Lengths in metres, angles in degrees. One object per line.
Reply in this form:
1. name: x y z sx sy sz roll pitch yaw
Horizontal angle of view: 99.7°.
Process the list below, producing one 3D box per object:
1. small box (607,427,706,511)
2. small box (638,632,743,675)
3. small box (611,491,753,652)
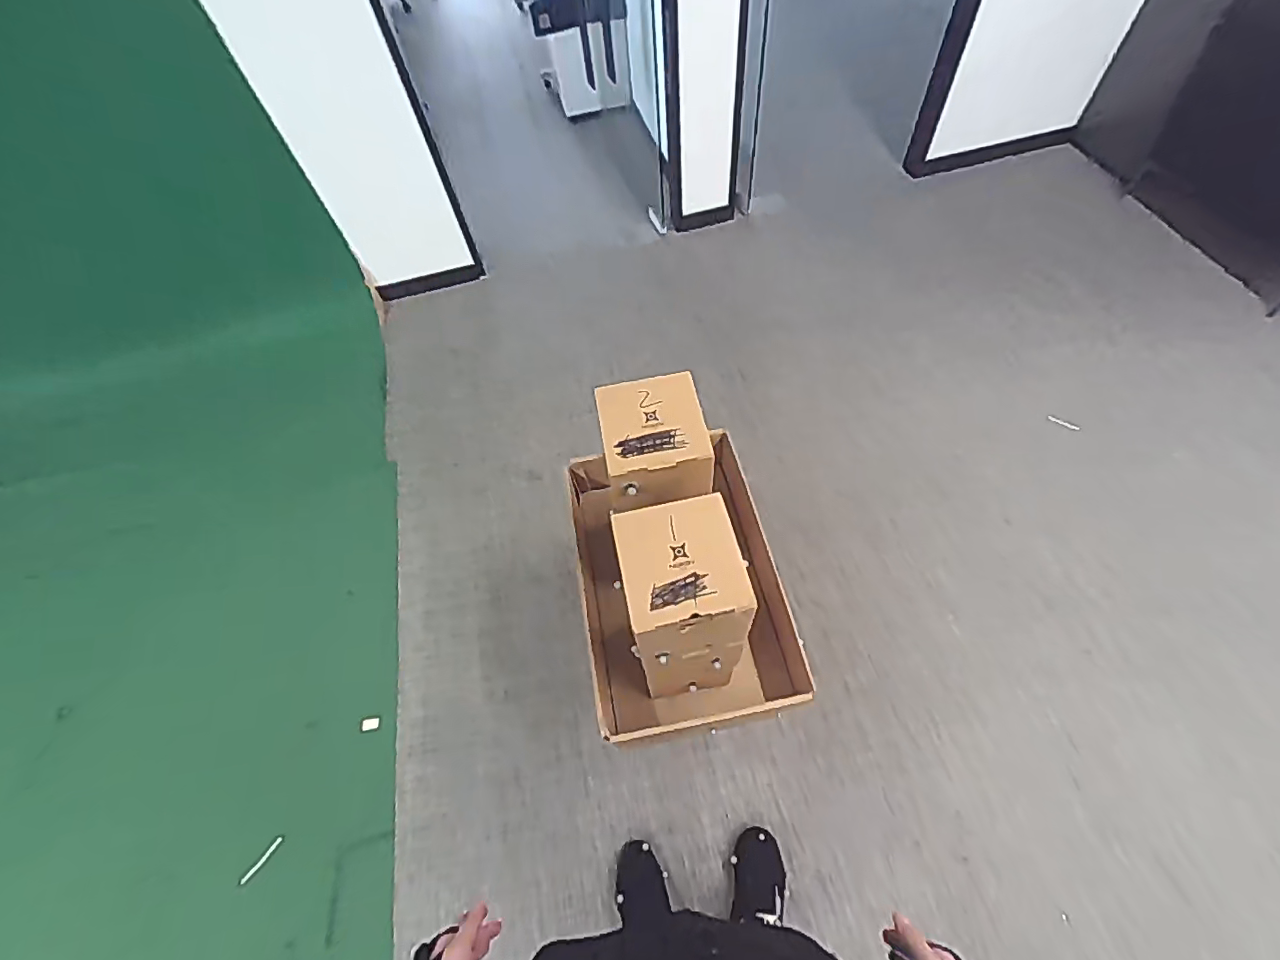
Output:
1. small box: 0.033 0.024 1.074 0.168 0.176 0.179 -12 60 -2
2. small box: 0.074 0.230 0.941 0.168 0.176 0.179 -11 58 -2
3. small box: 0.059 0.144 0.802 0.168 0.176 0.179 -11 58 -3
